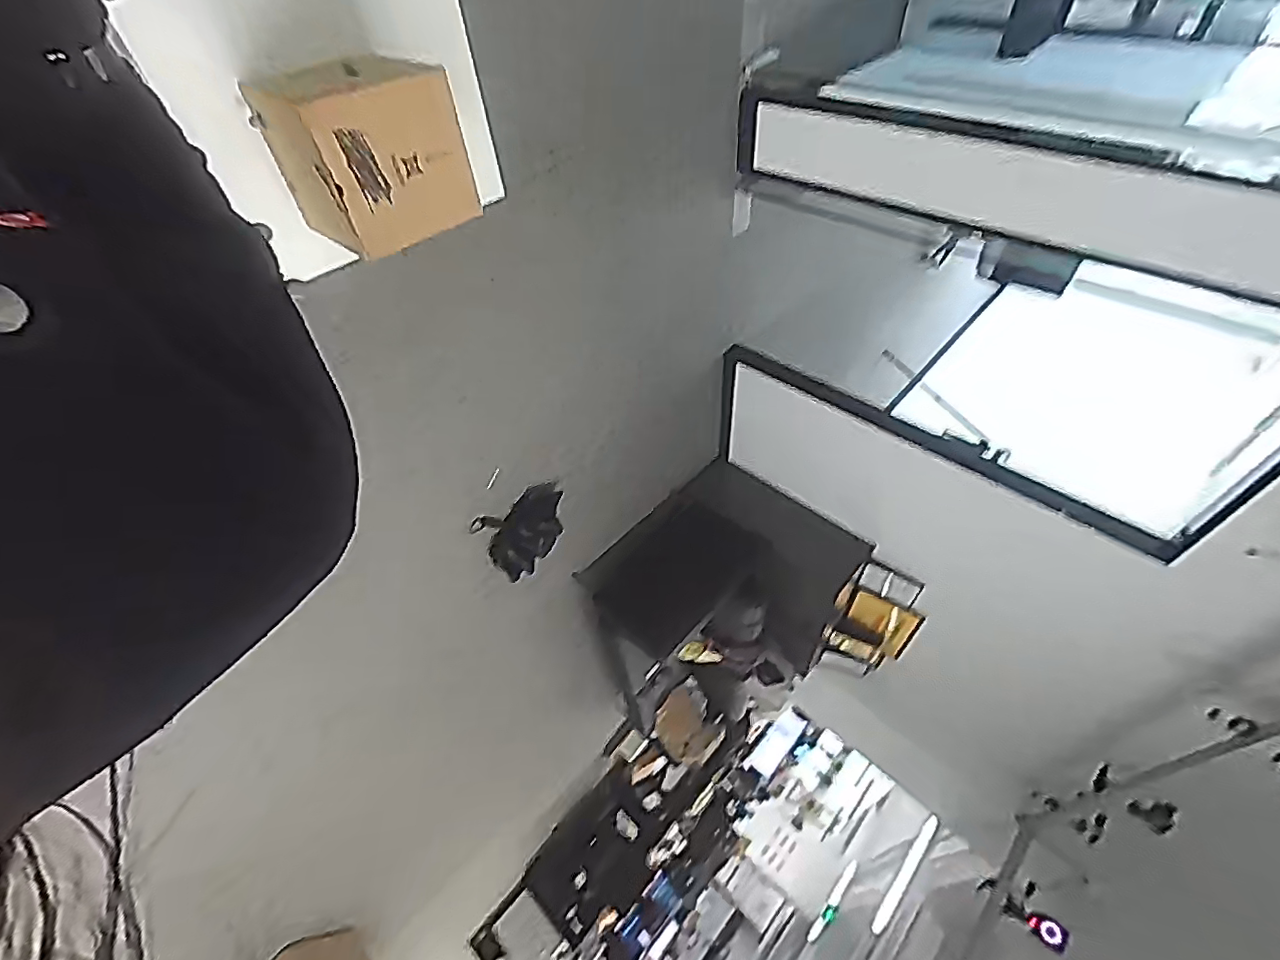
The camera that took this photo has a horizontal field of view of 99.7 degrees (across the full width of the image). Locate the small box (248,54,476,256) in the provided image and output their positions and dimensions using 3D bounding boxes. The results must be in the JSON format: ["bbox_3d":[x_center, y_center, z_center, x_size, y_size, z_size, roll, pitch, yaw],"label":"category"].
[{"bbox_3d":[-0.342,-0.406,0.670,0.179,0.176,0.168,-41,147,-28],"label":"small box"}]
